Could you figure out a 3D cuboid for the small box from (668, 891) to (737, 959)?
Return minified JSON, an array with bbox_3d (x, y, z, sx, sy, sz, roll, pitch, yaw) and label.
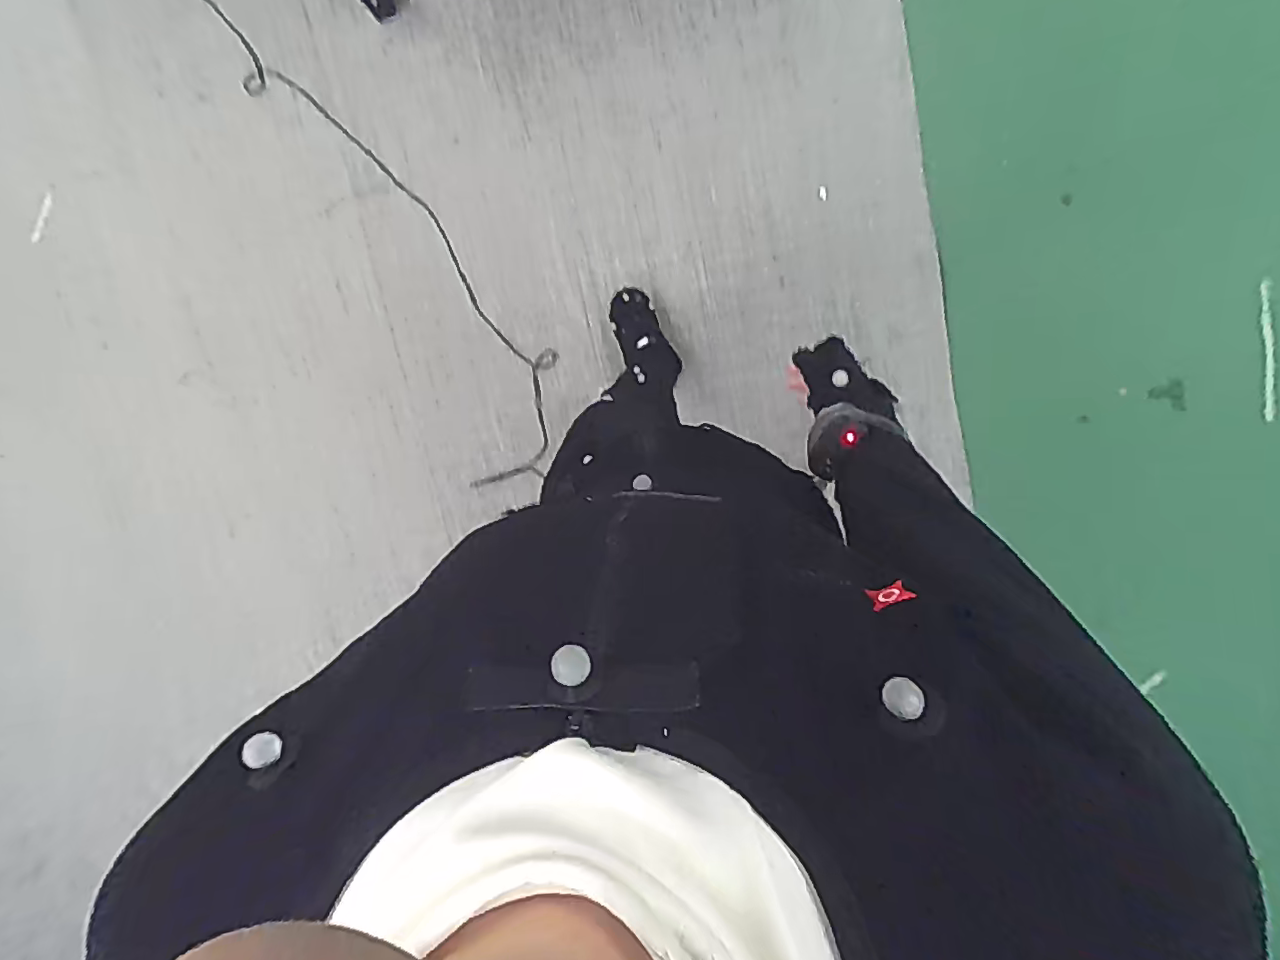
[{"bbox_3d":[0.177,1.292,1.508,0.179,0.176,0.168,-8,99,6],"label":"small box"}]
